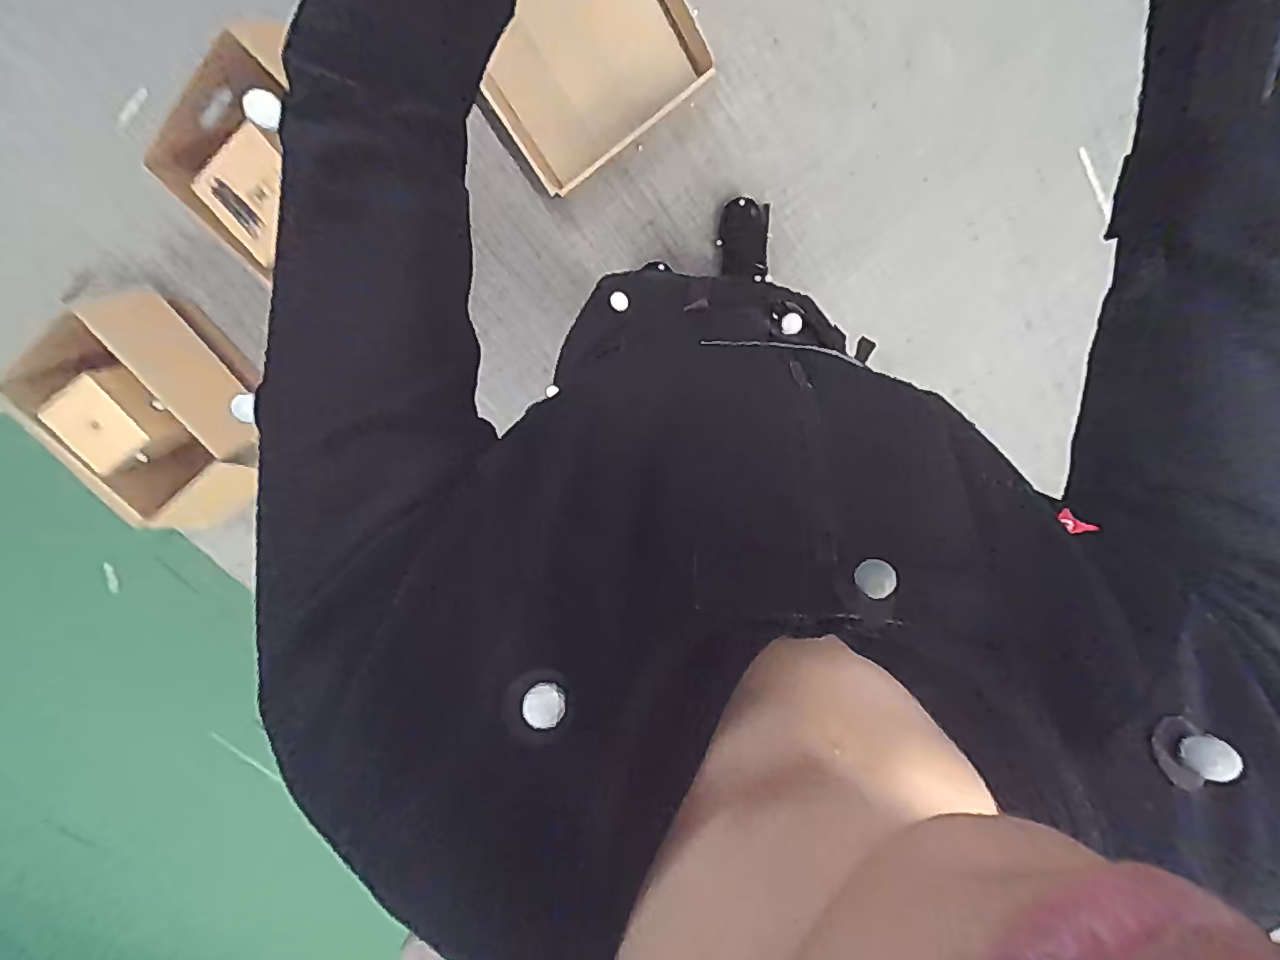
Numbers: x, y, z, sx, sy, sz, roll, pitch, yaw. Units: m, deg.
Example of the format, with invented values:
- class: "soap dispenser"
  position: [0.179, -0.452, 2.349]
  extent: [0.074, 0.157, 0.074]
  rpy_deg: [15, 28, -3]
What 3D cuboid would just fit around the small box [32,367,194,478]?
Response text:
- class: "small box"
  position: [-1.178, -0.137, 1.229]
  extent: [0.179, 0.176, 0.168]
  rpy_deg: [-30, 107, 12]
